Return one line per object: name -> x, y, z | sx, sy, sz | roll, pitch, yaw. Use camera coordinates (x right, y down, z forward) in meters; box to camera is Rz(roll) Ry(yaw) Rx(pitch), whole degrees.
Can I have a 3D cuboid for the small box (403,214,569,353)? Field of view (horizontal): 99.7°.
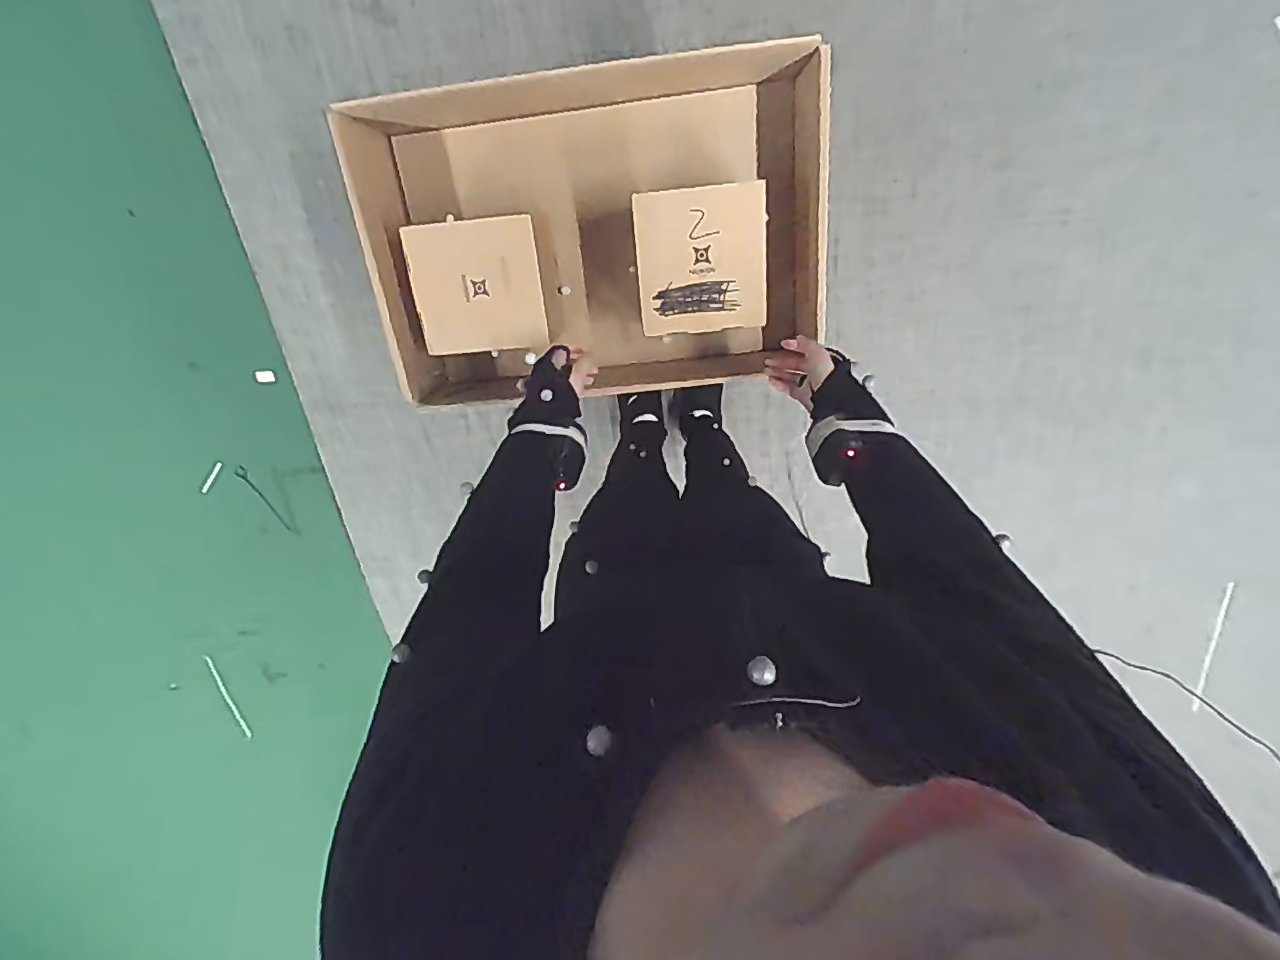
small box -> -0.210, -0.285, 0.788 | 0.179, 0.176, 0.168 | -4, 113, 3
